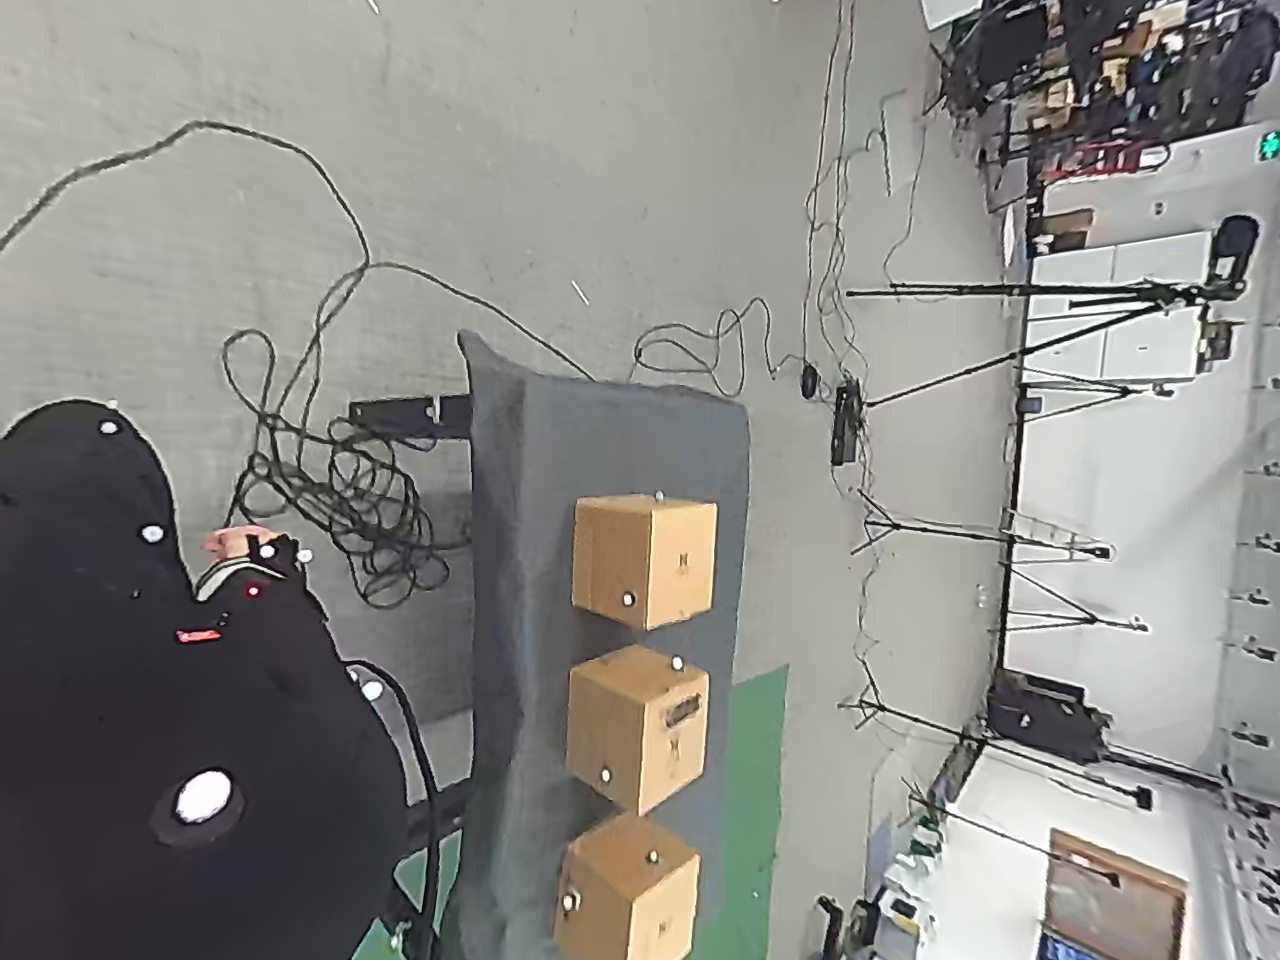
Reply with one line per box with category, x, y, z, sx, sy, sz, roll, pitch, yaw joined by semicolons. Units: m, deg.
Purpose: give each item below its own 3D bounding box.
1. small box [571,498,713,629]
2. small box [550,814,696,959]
small box;0.001;0.123;0.887;0.168;0.176;0.179;-2;97;-48
small box;-0.028;0.713;0.923;0.179;0.176;0.168;8;87;-48
